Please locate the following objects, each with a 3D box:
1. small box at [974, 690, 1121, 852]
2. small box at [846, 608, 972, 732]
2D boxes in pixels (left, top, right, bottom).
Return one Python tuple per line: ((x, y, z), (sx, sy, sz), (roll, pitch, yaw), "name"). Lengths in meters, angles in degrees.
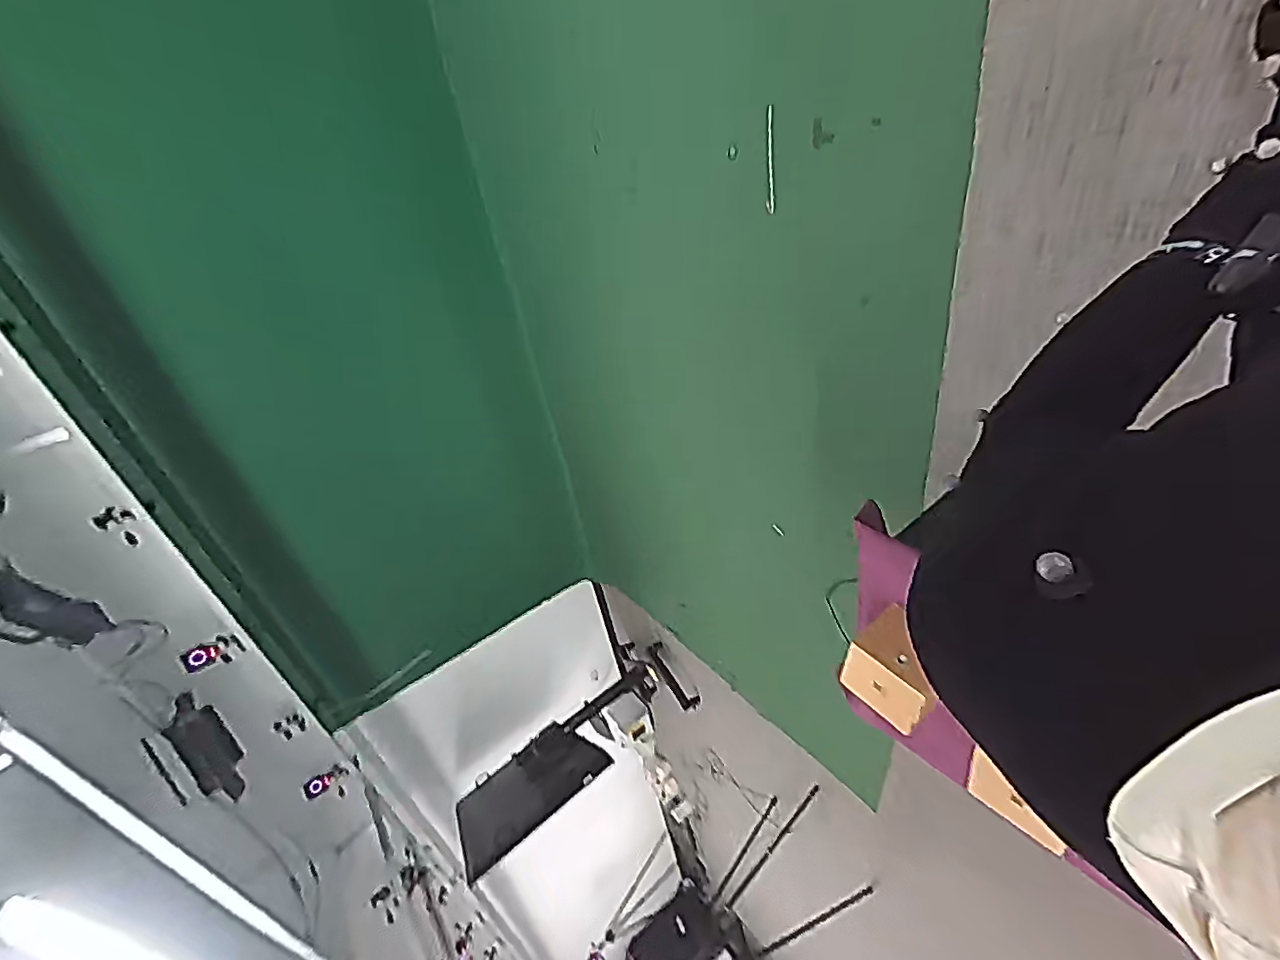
((0.776, 0.548, 1.036), (0.168, 0.176, 0.179), (28, 139, 47), "small box")
((0.601, 0.415, 1.219), (0.179, 0.176, 0.168), (36, 145, 39), "small box")
